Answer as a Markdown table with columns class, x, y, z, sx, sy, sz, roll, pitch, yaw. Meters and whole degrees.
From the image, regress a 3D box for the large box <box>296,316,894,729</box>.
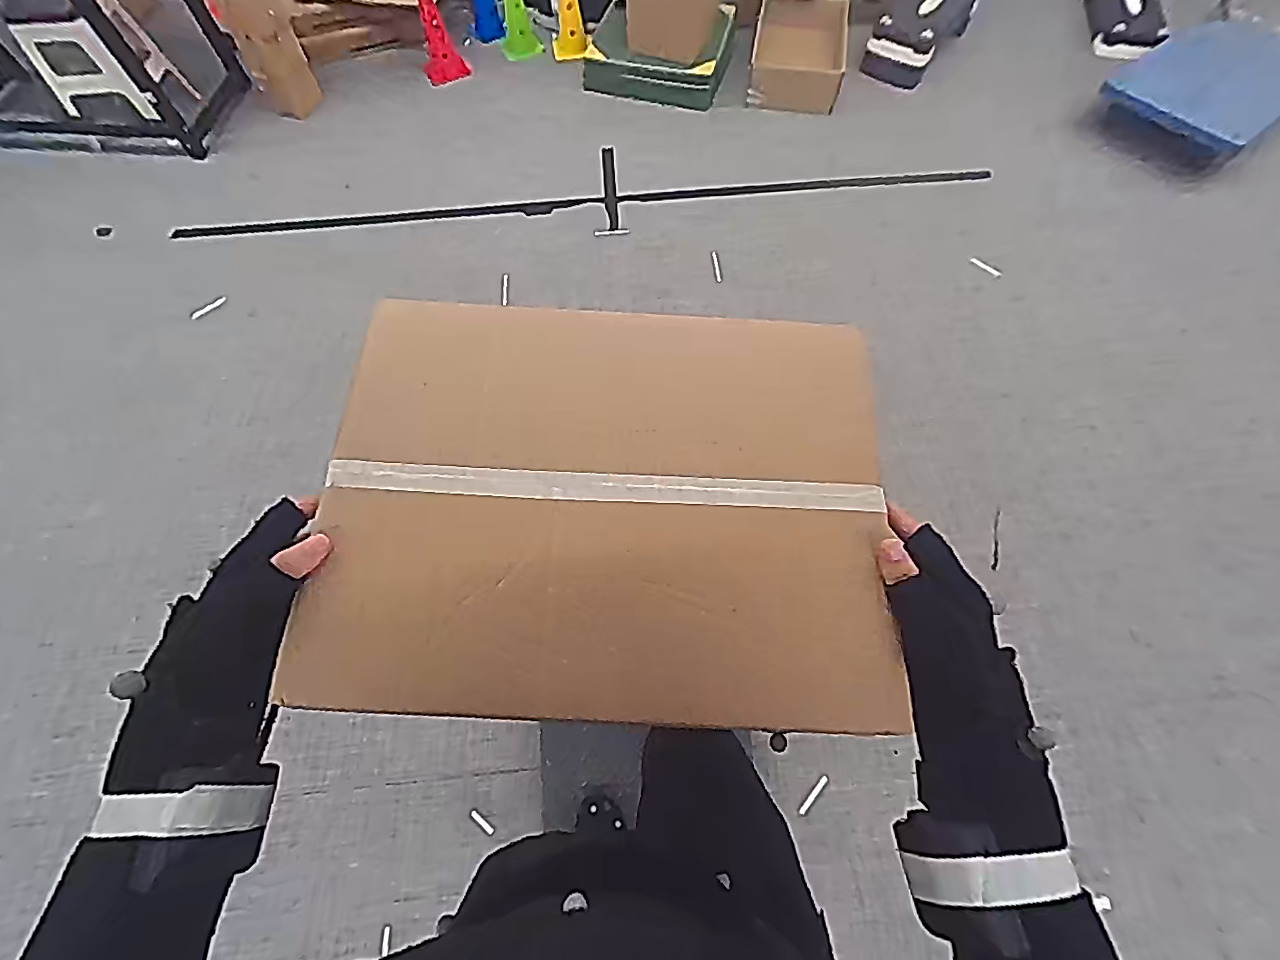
| class | x | y | z | sx | sy | sz | roll | pitch | yaw |
| --- | --- | --- | --- | --- | --- | --- | --- | --- | --- |
| large box | -0.027 | 0.065 | 0.547 | 0.408 | 0.320 | 0.320 | 3 | 68 | -2 |
